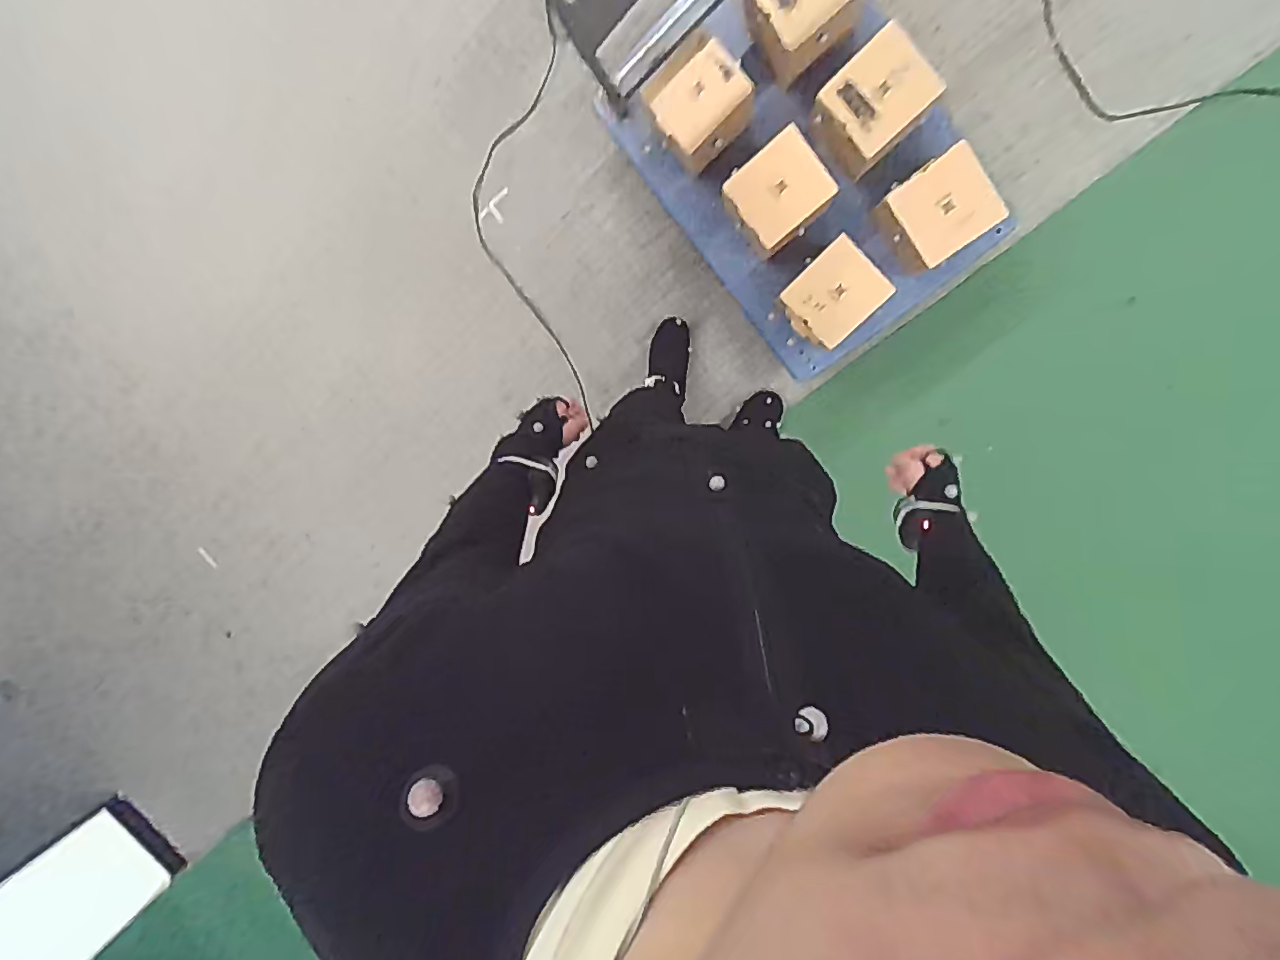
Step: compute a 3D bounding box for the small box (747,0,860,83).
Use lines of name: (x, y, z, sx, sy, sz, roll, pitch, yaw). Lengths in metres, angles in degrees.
small box: (0.330, -0.962, 1.092, 0.179, 0.176, 0.168, -34, 96, 17)

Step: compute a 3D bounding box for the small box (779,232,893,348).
small box: (0.425, -0.415, 1.210, 0.179, 0.176, 0.168, -36, 92, 18)

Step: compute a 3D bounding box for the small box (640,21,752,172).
small box: (0.129, -0.811, 1.170, 0.179, 0.176, 0.168, -39, 94, 18)

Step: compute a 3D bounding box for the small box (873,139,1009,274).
small box: (0.619, -0.560, 1.139, 0.168, 0.176, 0.179, -33, 95, 18)
